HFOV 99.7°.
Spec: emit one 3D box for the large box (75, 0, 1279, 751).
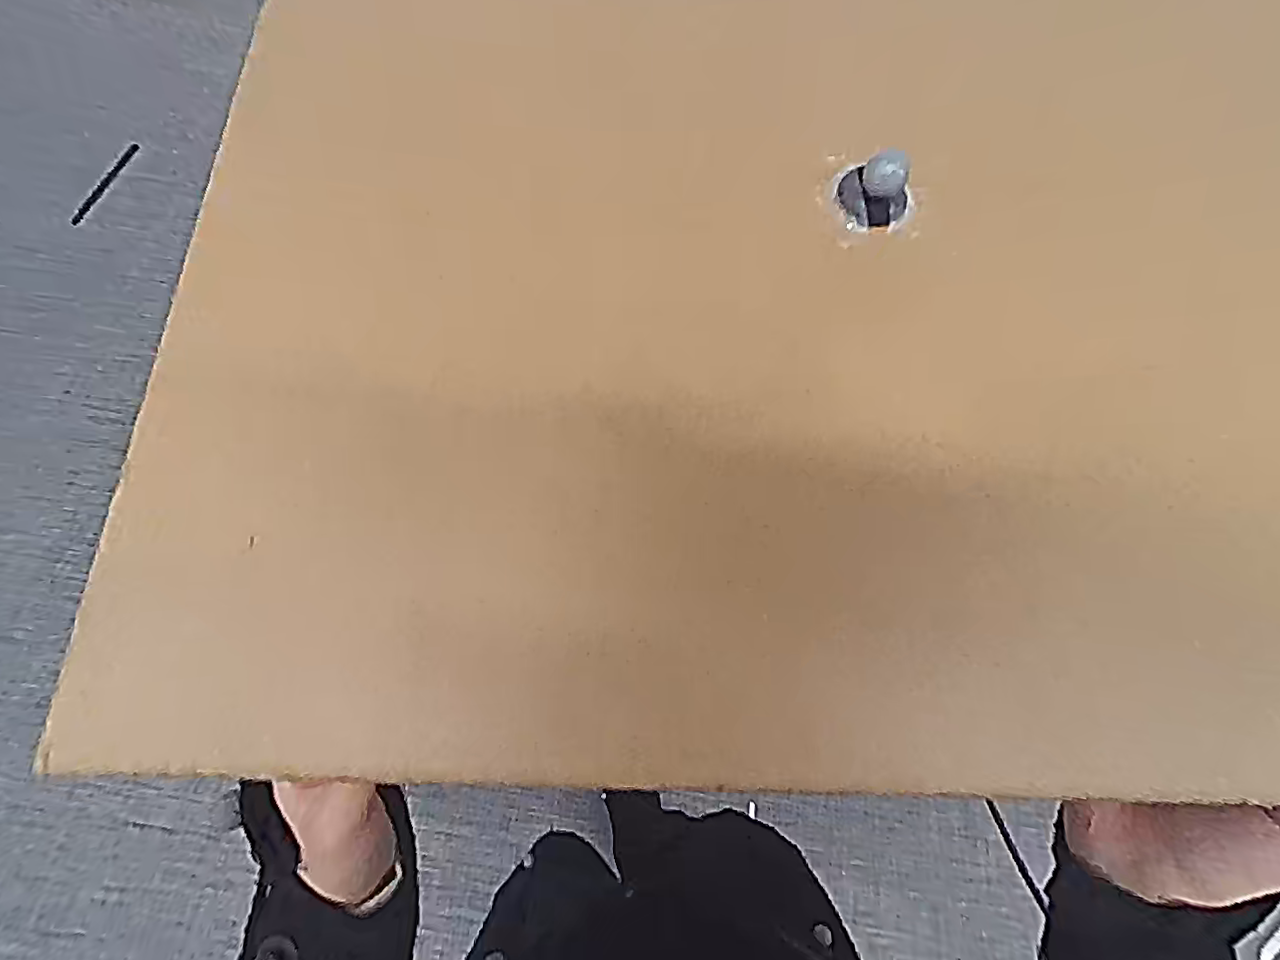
[{"bbox_3d":[0.062,-0.044,0.309,0.408,0.320,0.320,2,75,-1],"label":"large box"}]
